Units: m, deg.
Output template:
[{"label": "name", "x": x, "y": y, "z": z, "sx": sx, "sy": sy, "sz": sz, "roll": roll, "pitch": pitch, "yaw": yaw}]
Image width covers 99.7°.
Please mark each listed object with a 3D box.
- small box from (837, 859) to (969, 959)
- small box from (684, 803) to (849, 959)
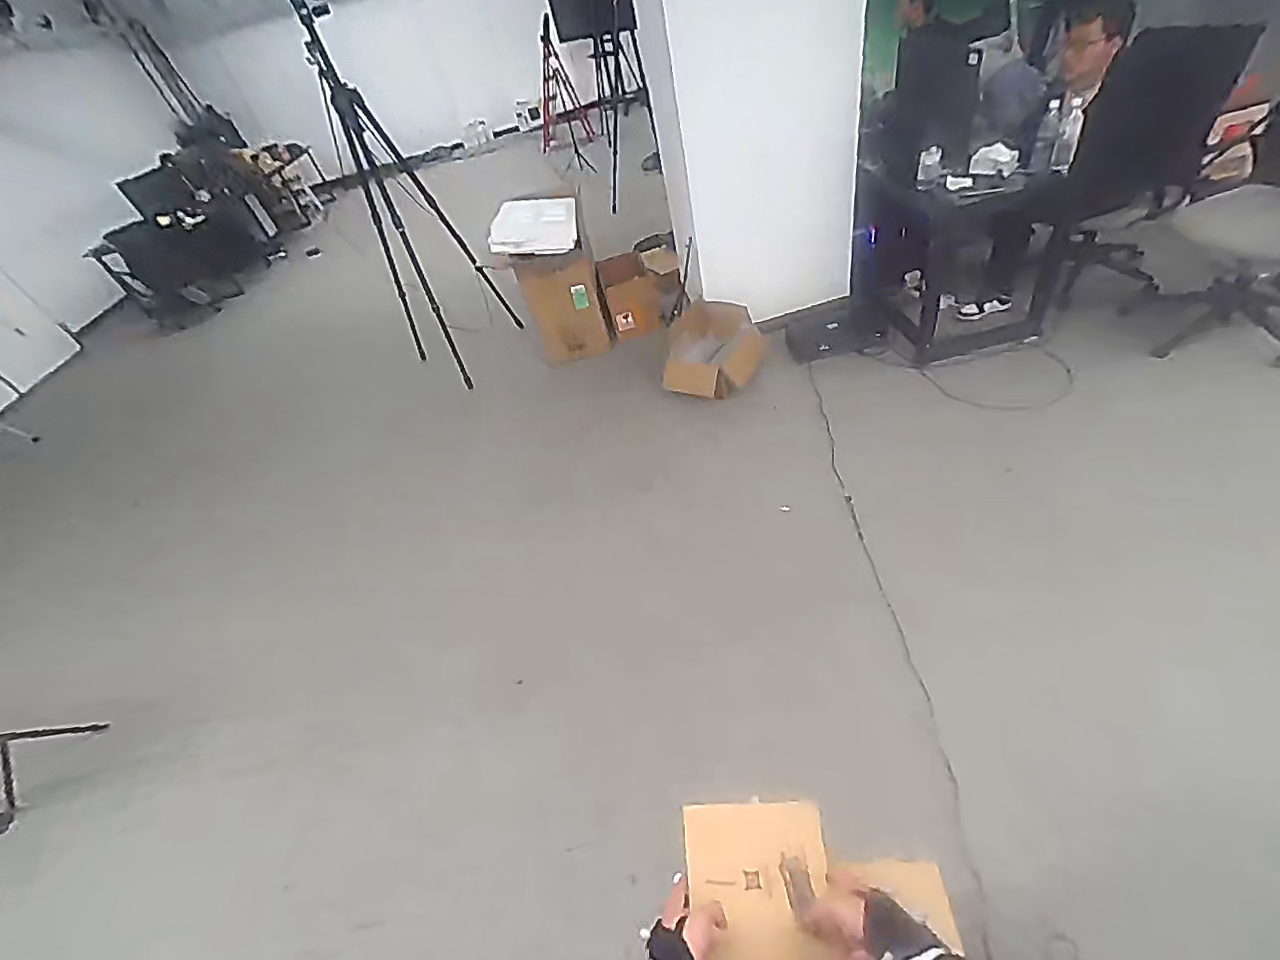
[{"label": "small box", "x": 0.434, "y": 0.763, "z": 0.909, "sx": 0.168, "sy": 0.176, "sz": 0.179, "roll": -8, "pitch": 42, "yaw": 10}, {"label": "small box", "x": 0.150, "y": 0.530, "z": 0.710, "sx": 0.179, "sy": 0.176, "sz": 0.168, "roll": -4, "pitch": 52, "yaw": 3}]
